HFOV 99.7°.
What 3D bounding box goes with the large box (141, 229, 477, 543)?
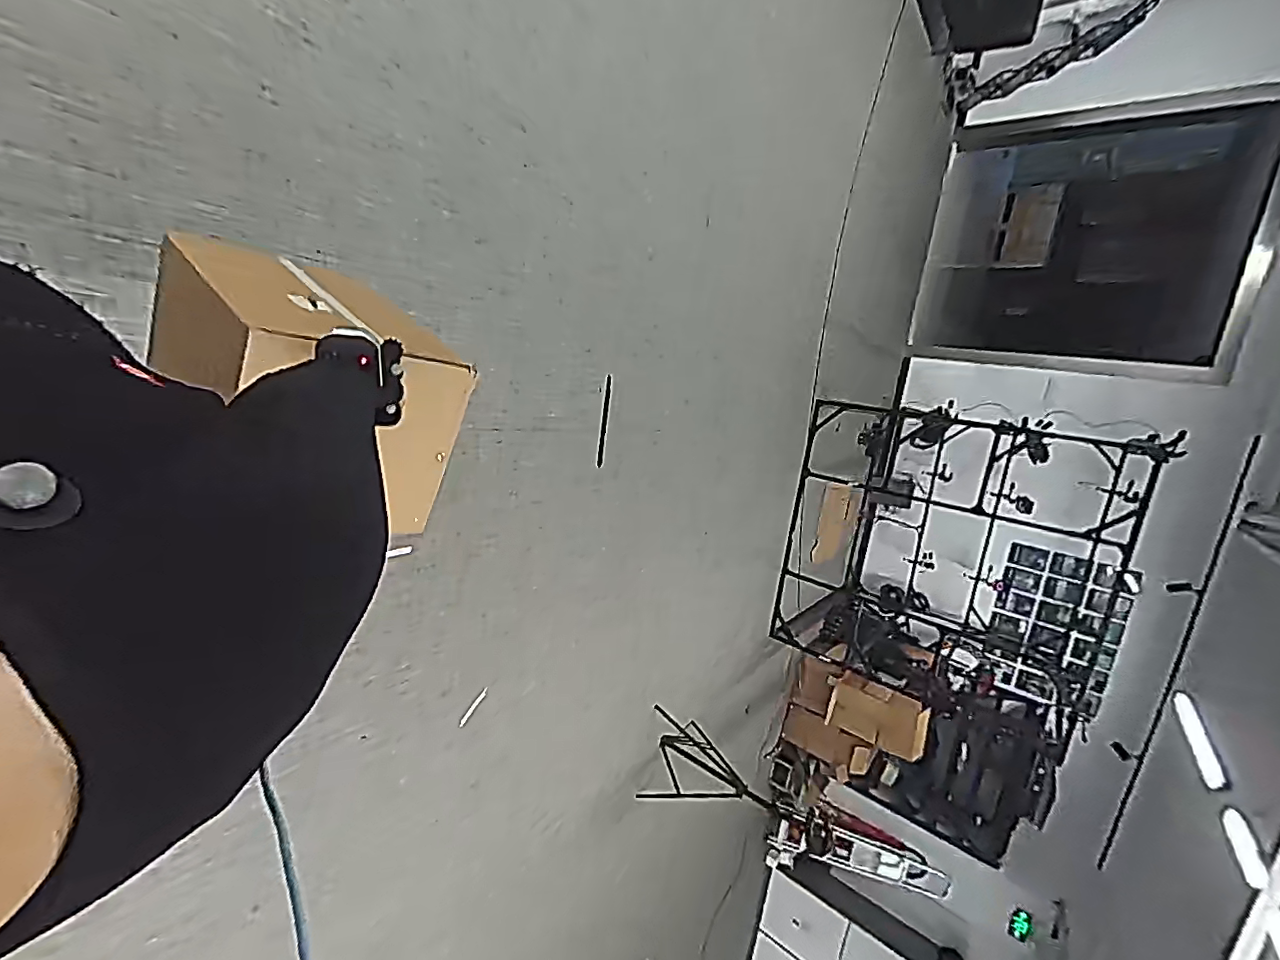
[{"bbox_3d":[-0.551,-0.149,0.888,0.320,0.408,0.320,-3,125,-54],"label":"large box"}]
